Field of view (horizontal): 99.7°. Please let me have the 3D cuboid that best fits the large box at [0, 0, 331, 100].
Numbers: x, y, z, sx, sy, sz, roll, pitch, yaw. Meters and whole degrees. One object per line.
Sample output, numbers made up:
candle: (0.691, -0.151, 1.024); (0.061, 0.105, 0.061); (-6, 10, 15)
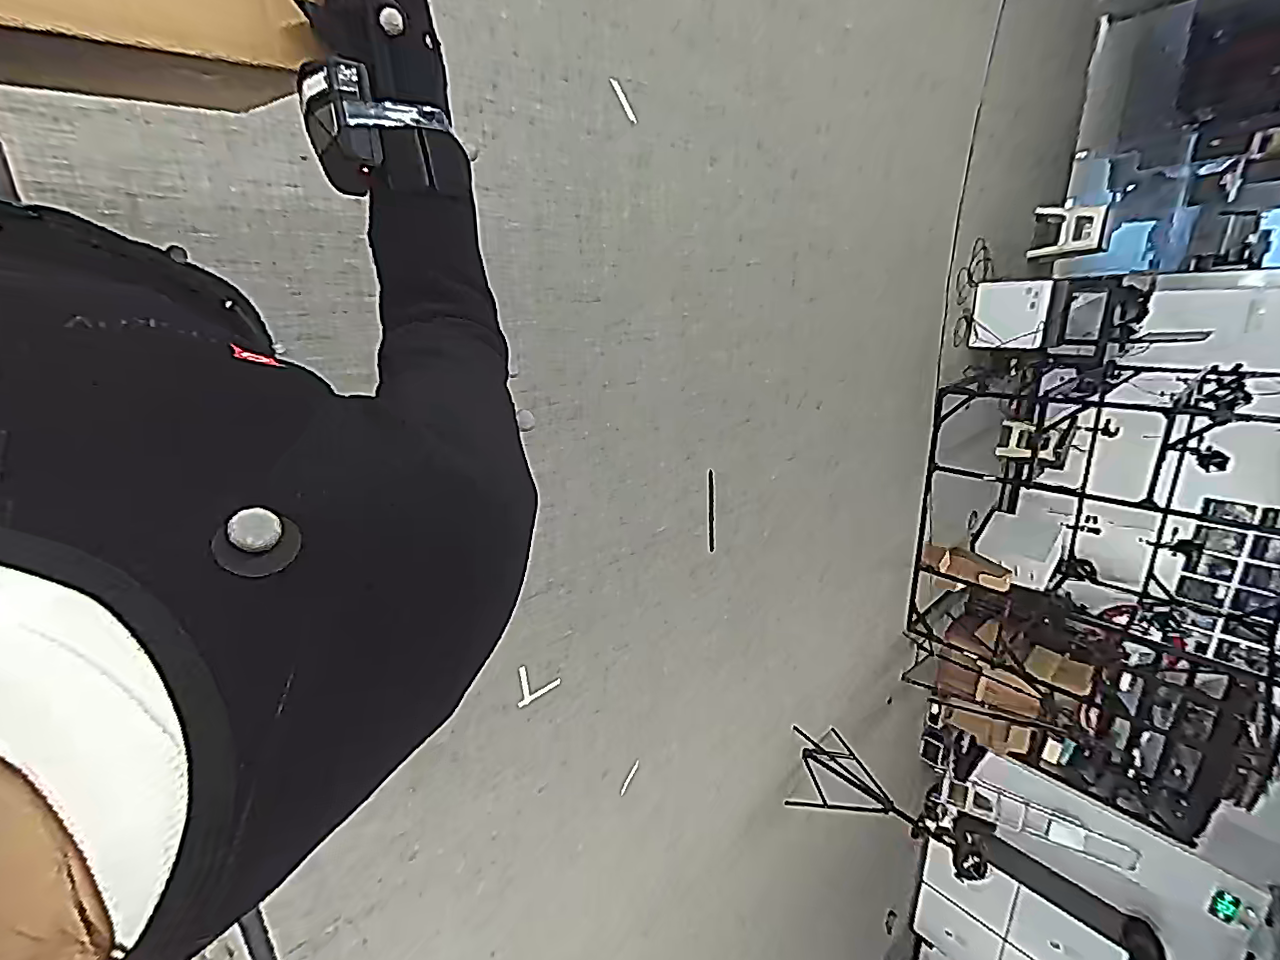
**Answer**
large box: (-0.447, -0.407, 0.267); (0.408, 0.320, 0.320); (-21, 127, -38)
